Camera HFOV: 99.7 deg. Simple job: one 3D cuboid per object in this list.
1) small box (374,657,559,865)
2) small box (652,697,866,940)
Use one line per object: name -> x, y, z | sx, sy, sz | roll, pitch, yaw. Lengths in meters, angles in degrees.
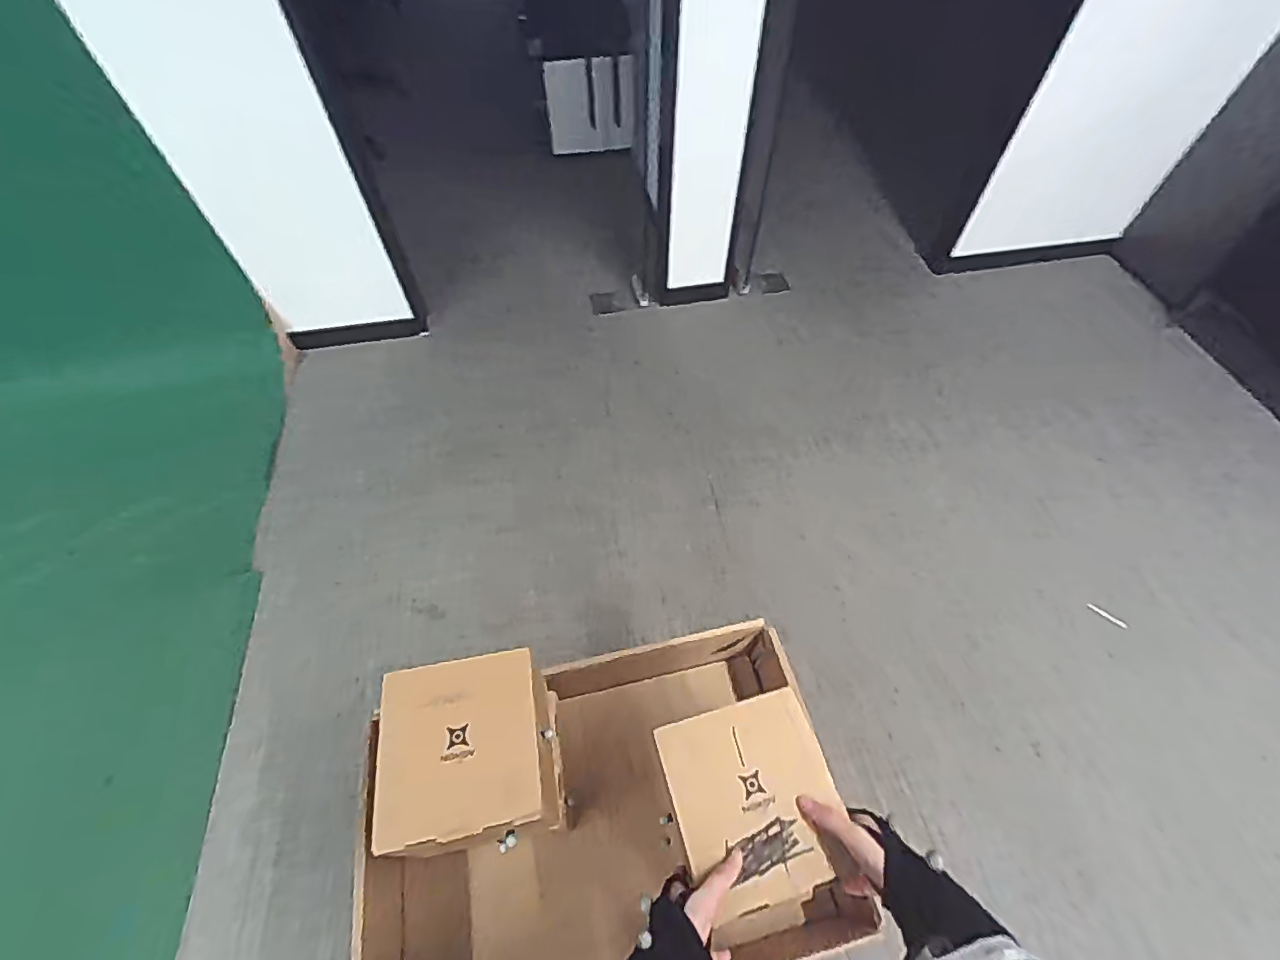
small box -> -0.190, 0.330, 0.635 | 0.168, 0.176, 0.179 | -7, 55, -7
small box -> 0.116, 0.371, 0.607 | 0.168, 0.176, 0.179 | -13, 56, -9
